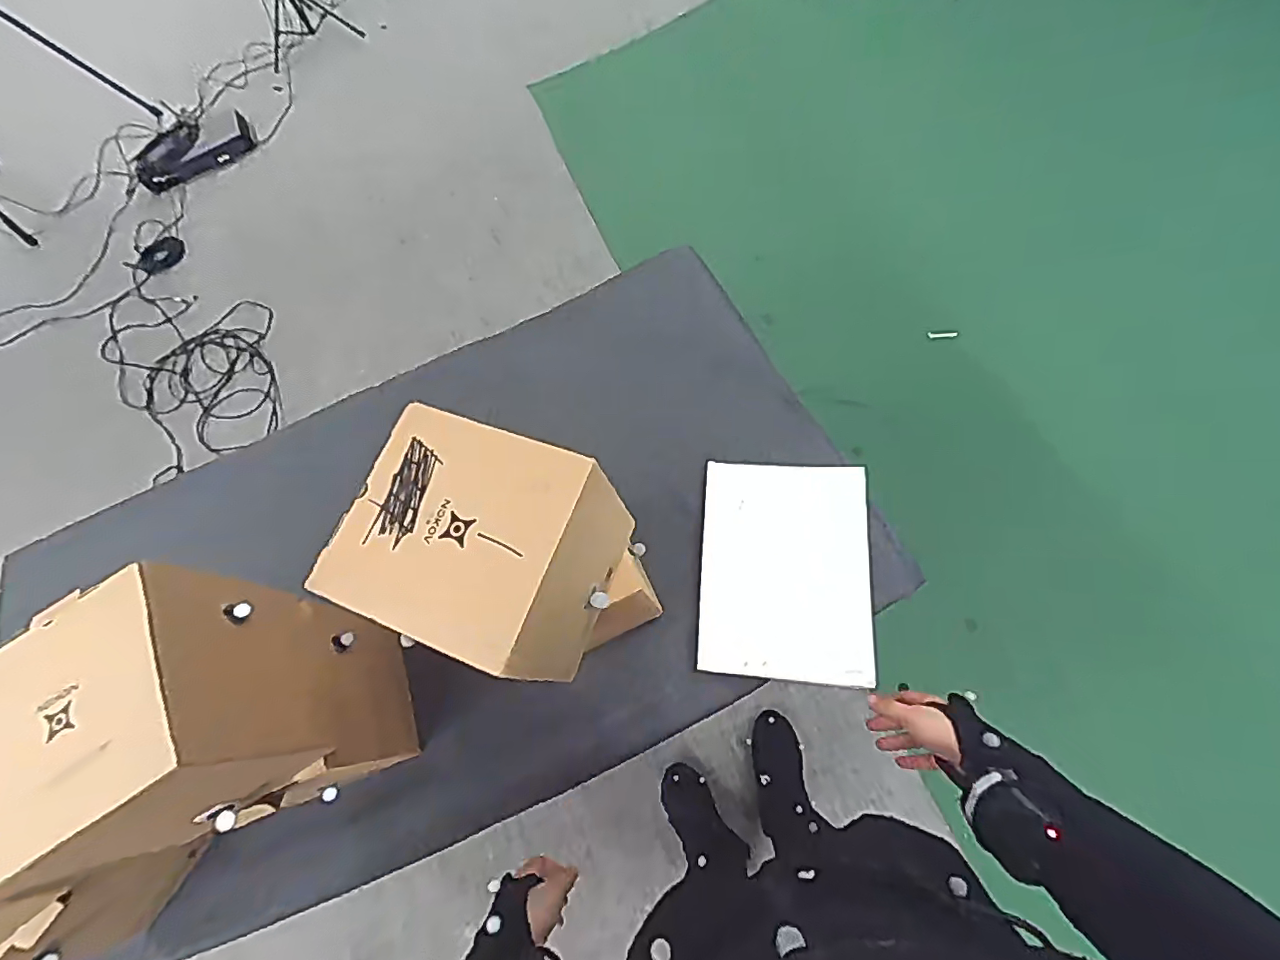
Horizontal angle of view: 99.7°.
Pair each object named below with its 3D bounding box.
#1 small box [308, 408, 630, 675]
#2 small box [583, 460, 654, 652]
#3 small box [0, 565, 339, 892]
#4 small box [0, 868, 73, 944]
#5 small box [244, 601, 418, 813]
[{"bbox_3d":[-0.129,0.063,0.475,0.179,0.176,0.168,18,74,17],"label":"small box"},{"bbox_3d":[-0.093,0.107,0.631,0.179,0.176,0.168,-27,67,0],"label":"small box"},{"bbox_3d":[-0.409,0.205,0.474,0.168,0.176,0.179,-34,67,-2],"label":"small box"},{"bbox_3d":[-0.658,0.350,0.463,0.179,0.176,0.168,-39,68,-5],"label":"small box"},{"bbox_3d":[-0.385,0.262,0.624,0.168,0.176,0.179,-23,67,2],"label":"small box"}]
